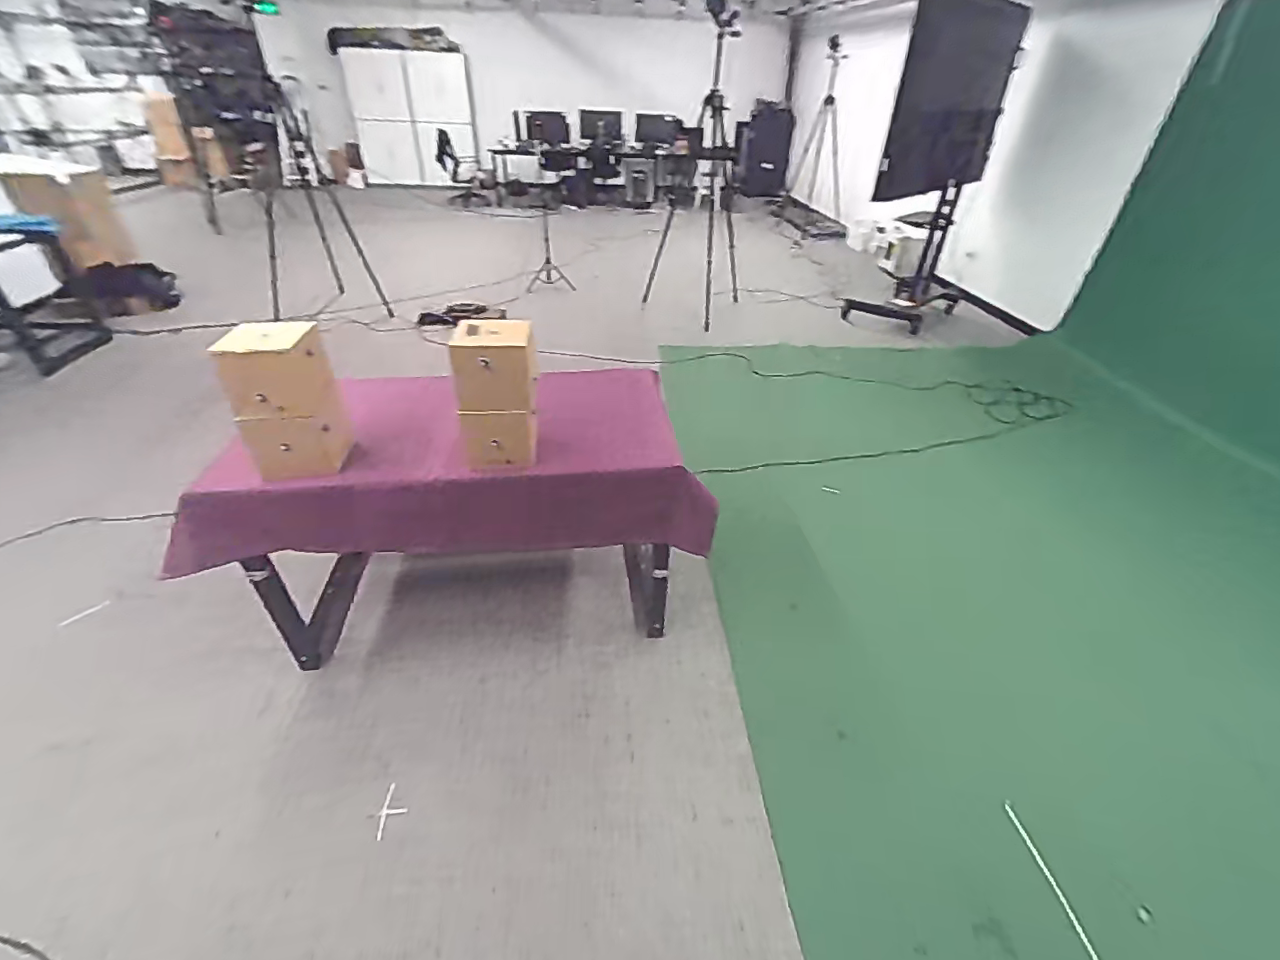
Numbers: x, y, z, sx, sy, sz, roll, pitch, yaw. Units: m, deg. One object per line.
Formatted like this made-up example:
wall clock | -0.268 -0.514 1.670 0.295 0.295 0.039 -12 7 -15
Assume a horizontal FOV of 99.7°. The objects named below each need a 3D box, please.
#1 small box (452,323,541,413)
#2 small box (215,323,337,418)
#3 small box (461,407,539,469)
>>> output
small box | -0.343 -0.274 1.320 0.179 0.176 0.168 0 36 -5
small box | -0.837 -0.258 1.267 0.168 0.176 0.179 -3 37 -7
small box | -0.356 -0.139 1.413 0.168 0.176 0.179 -1 36 -5
